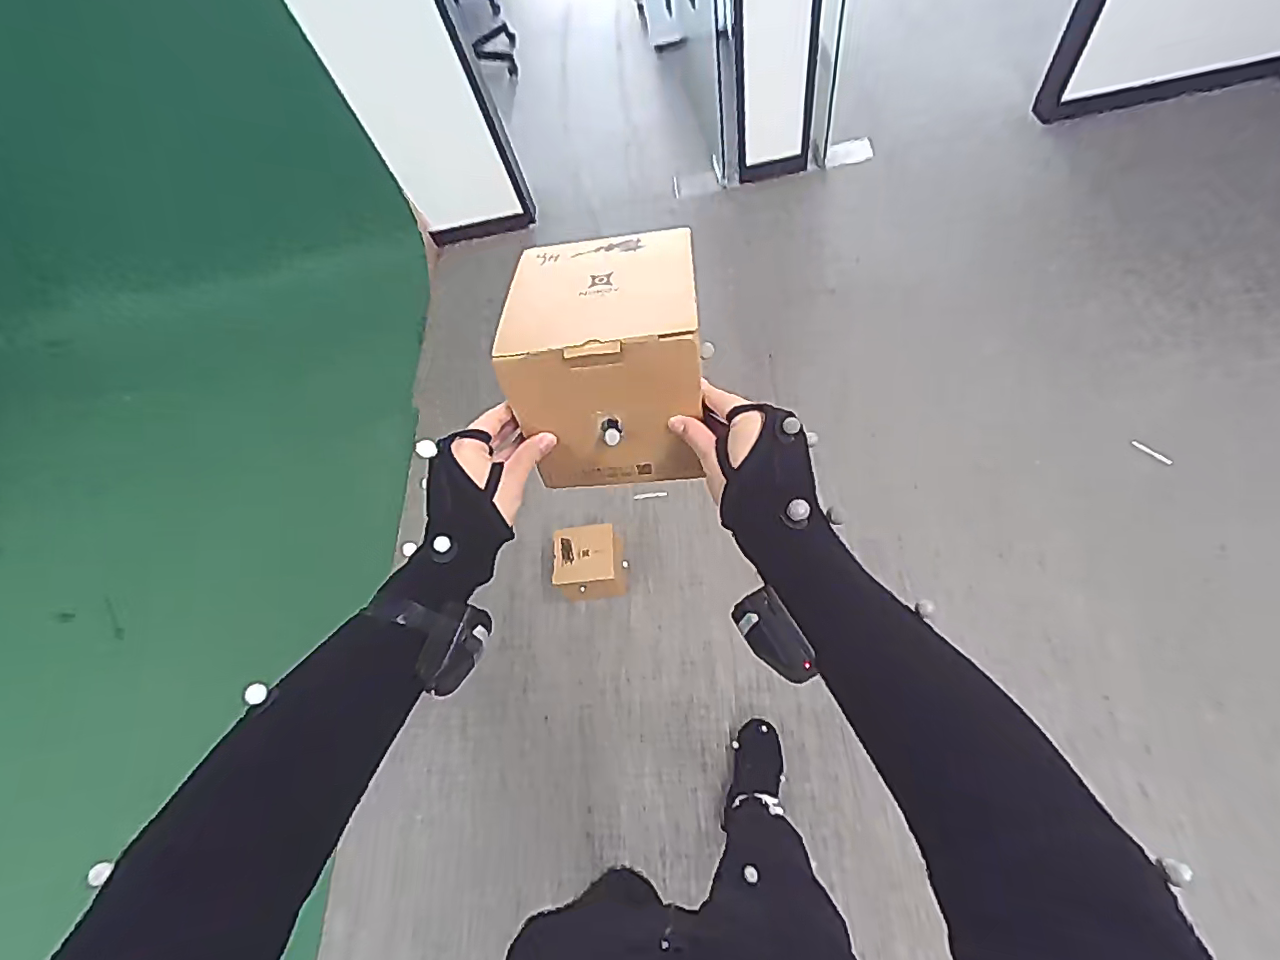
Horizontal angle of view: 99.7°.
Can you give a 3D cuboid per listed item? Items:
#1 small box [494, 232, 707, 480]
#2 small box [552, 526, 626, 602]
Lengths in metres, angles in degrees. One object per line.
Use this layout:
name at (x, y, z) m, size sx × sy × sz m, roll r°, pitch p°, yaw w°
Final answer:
small box at (-0.024, -0.112, 0.533) m, size 0.168 × 0.176 × 0.179 m, roll -5°, pitch 50°, yaw 6°
small box at (-0.144, 0.250, 1.571) m, size 0.179 × 0.176 × 0.168 m, roll -8°, pitch 62°, yaw 7°
